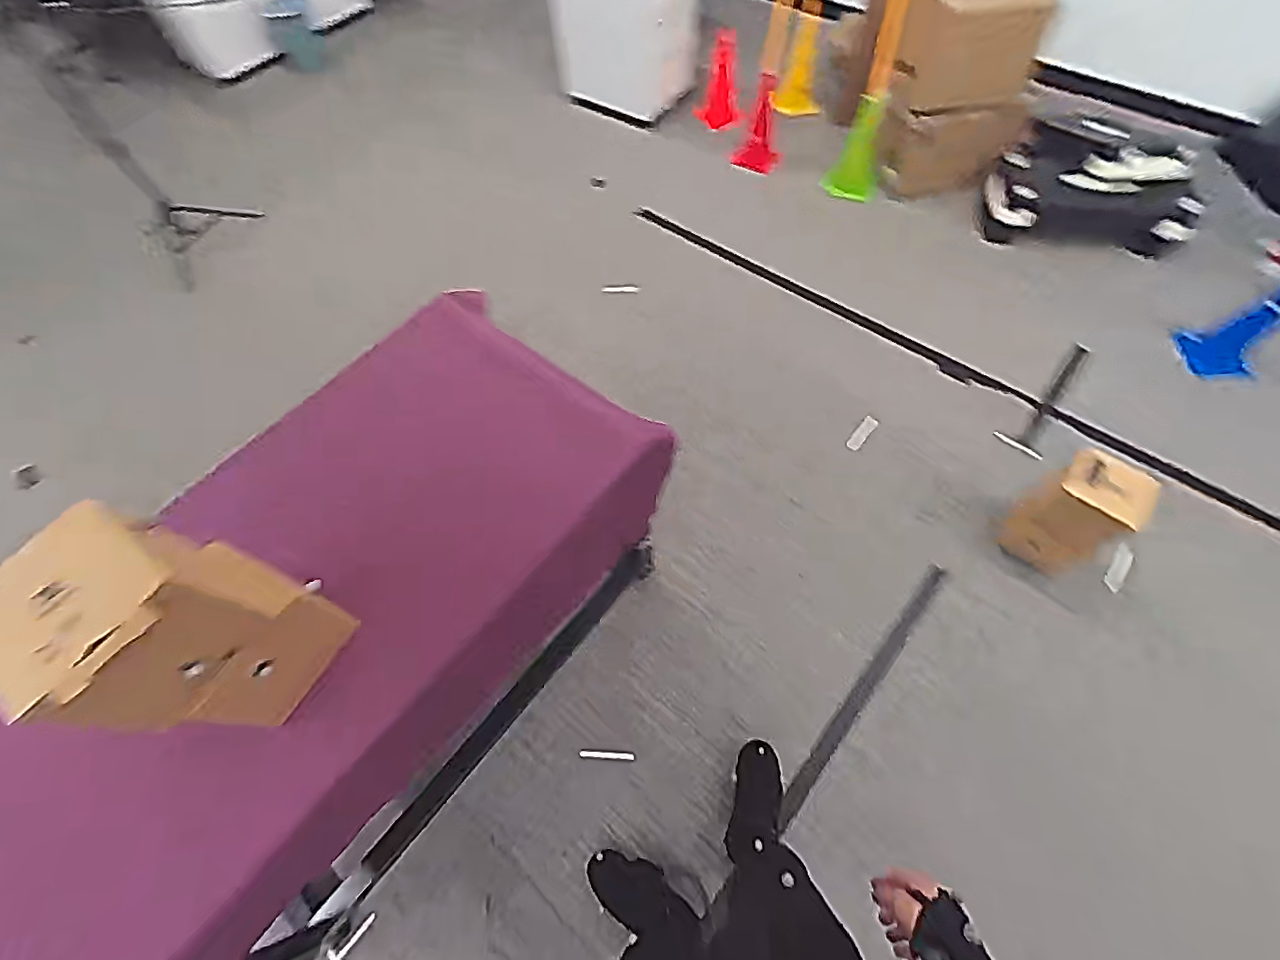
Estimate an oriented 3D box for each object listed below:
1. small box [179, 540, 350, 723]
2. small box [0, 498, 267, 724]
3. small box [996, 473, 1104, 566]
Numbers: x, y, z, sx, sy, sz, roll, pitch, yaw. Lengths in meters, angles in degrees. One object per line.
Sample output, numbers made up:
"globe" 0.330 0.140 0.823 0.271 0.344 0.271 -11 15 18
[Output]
"small box" -0.558 0.220 0.762 0.168 0.176 0.179 25 66 15
"small box" -0.585 0.156 0.611 0.179 0.176 0.168 30 69 17
"small box" 1.159 0.118 1.542 0.168 0.176 0.179 32 68 18
